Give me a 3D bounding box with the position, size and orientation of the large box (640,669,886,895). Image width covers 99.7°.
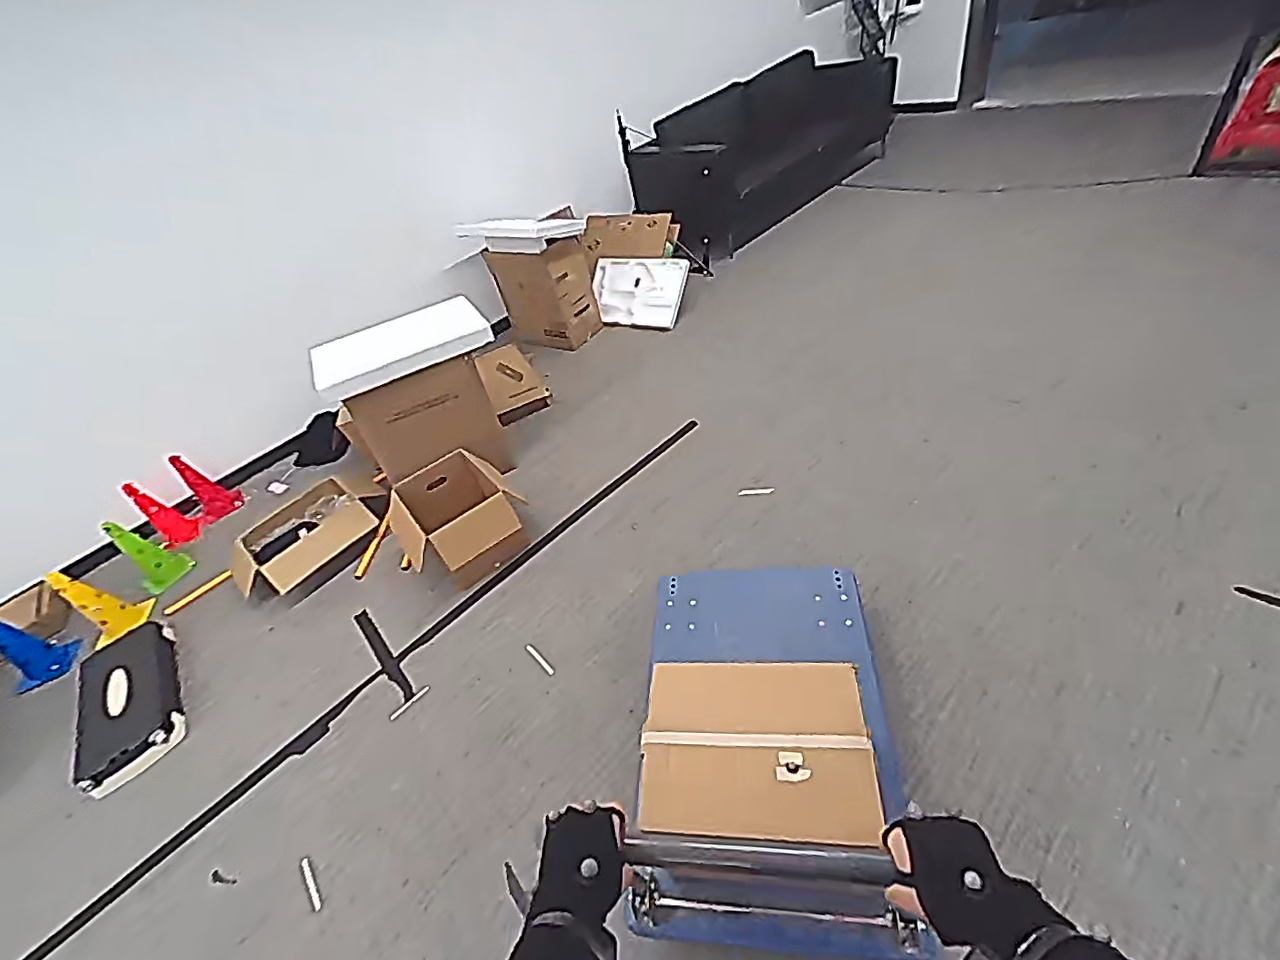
[{"bbox_3d":[0.233,0.597,1.084,0.408,0.320,0.320,-4,43,12],"label":"large box"}]
